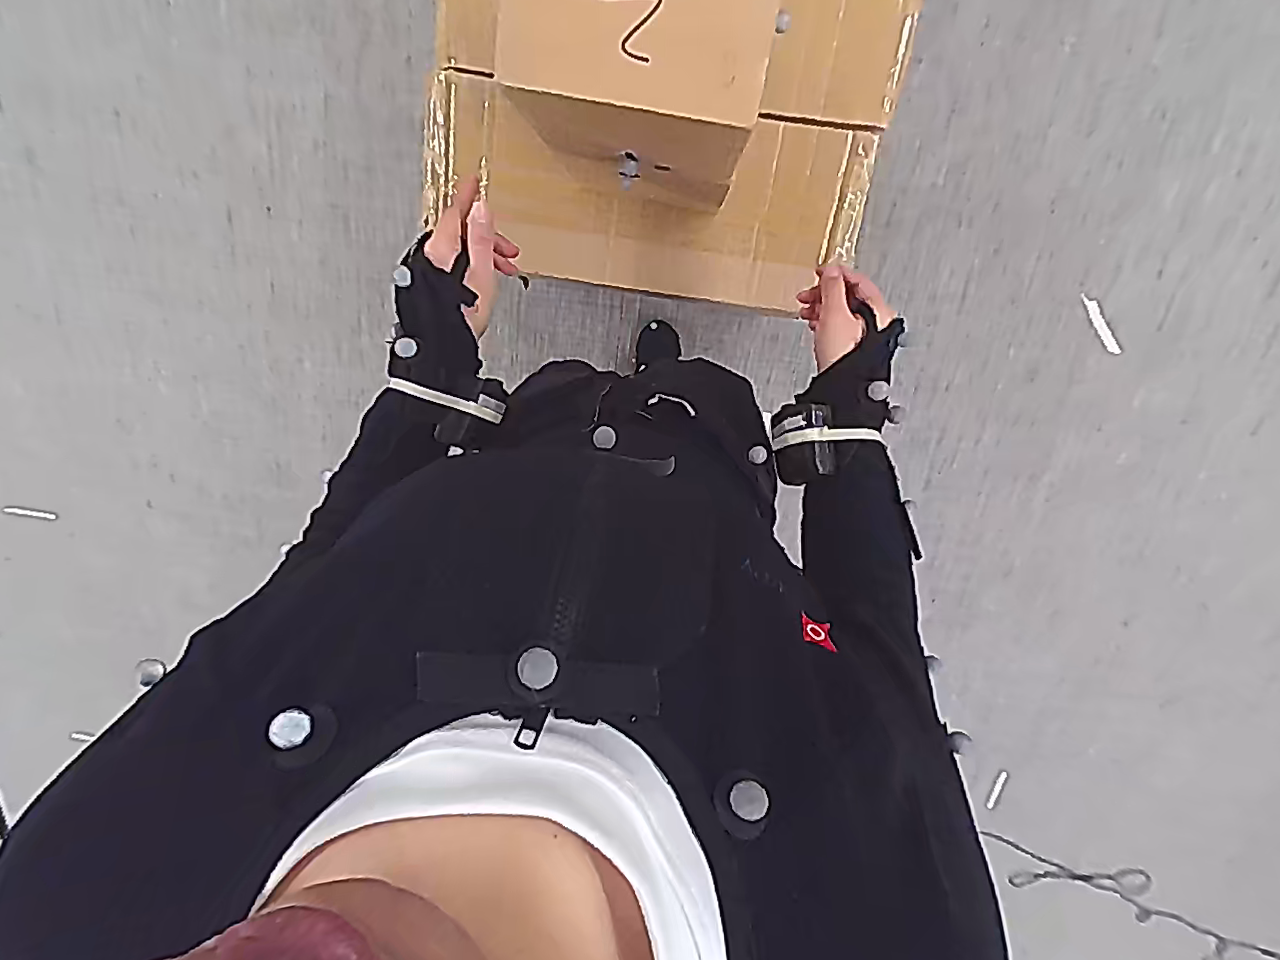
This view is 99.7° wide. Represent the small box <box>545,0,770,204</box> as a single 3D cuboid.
[{"bbox_3d":[0.018,-0.388,0.537,0.179,0.176,0.168,11,108,0],"label":"small box"}]
